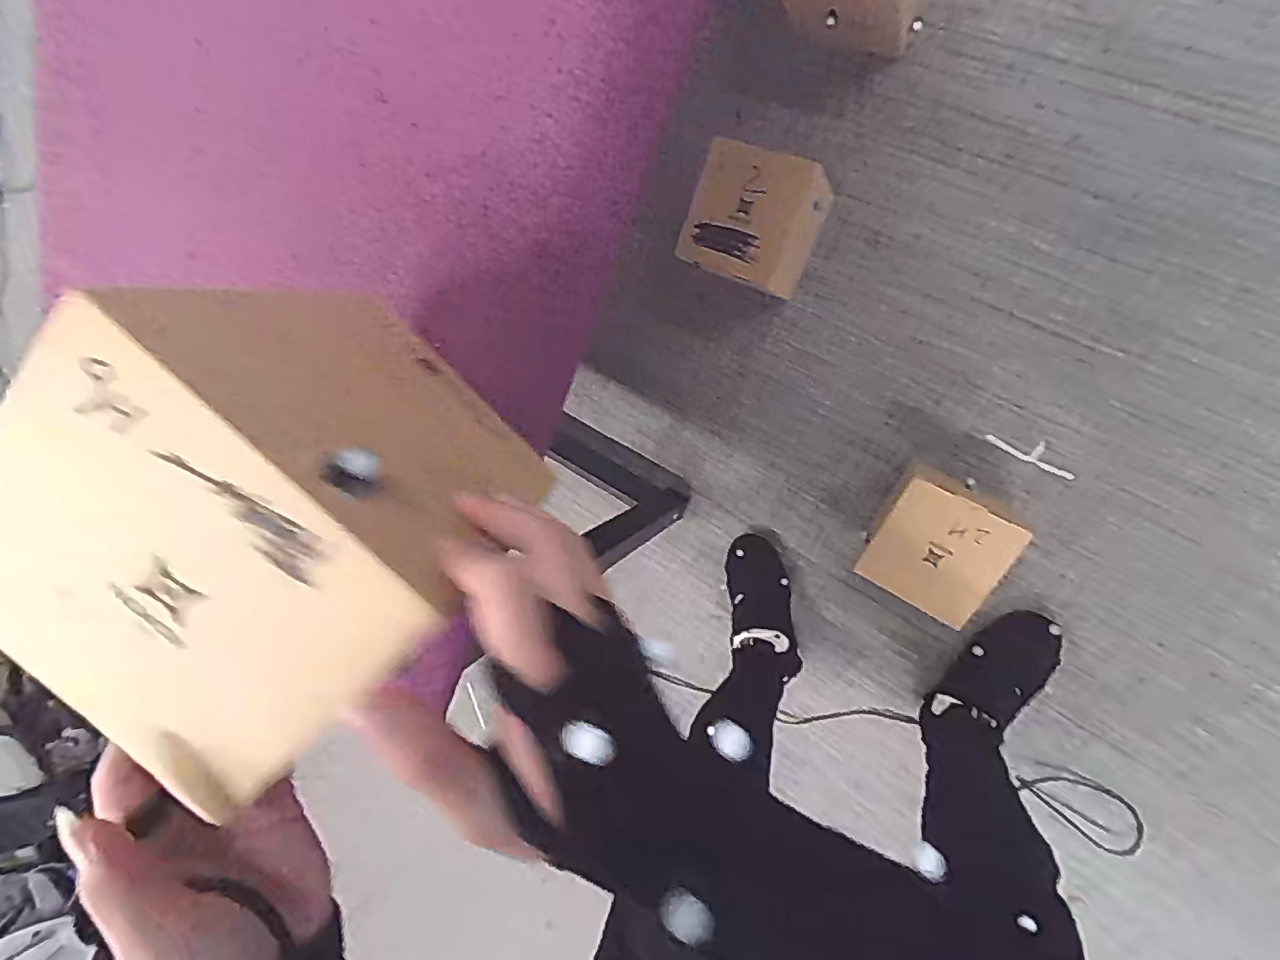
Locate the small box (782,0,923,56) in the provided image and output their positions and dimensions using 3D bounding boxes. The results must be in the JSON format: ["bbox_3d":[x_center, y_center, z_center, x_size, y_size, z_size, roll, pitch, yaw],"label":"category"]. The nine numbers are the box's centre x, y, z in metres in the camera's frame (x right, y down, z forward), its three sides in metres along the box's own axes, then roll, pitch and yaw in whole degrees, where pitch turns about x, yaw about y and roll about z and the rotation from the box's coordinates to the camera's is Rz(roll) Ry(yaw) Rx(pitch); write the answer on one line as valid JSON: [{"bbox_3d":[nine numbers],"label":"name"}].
[{"bbox_3d":[0.312,-0.725,0.741,0.179,0.176,0.168,29,111,19],"label":"small box"}]
